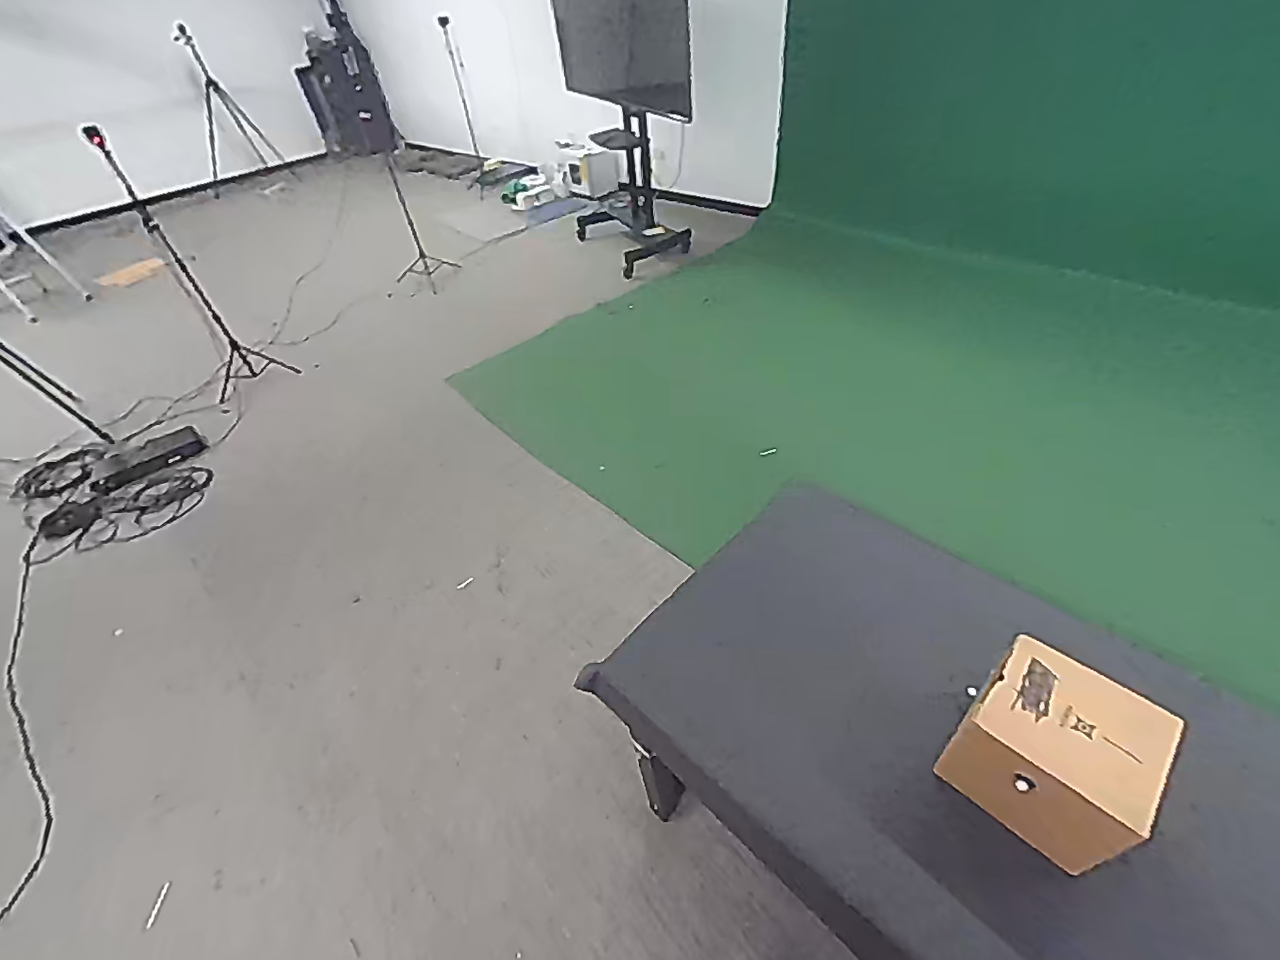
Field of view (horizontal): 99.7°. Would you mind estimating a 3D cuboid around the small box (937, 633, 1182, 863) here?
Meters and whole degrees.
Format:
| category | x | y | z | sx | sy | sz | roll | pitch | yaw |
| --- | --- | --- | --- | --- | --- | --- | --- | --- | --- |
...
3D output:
| category | x | y | z | sx | sy | sz | roll | pitch | yaw |
| --- | --- | --- | --- | --- | --- | --- | --- | --- | --- |
| small box | 0.515 | 0.340 | 0.688 | 0.168 | 0.176 | 0.179 | -37 | 51 | -27 |
